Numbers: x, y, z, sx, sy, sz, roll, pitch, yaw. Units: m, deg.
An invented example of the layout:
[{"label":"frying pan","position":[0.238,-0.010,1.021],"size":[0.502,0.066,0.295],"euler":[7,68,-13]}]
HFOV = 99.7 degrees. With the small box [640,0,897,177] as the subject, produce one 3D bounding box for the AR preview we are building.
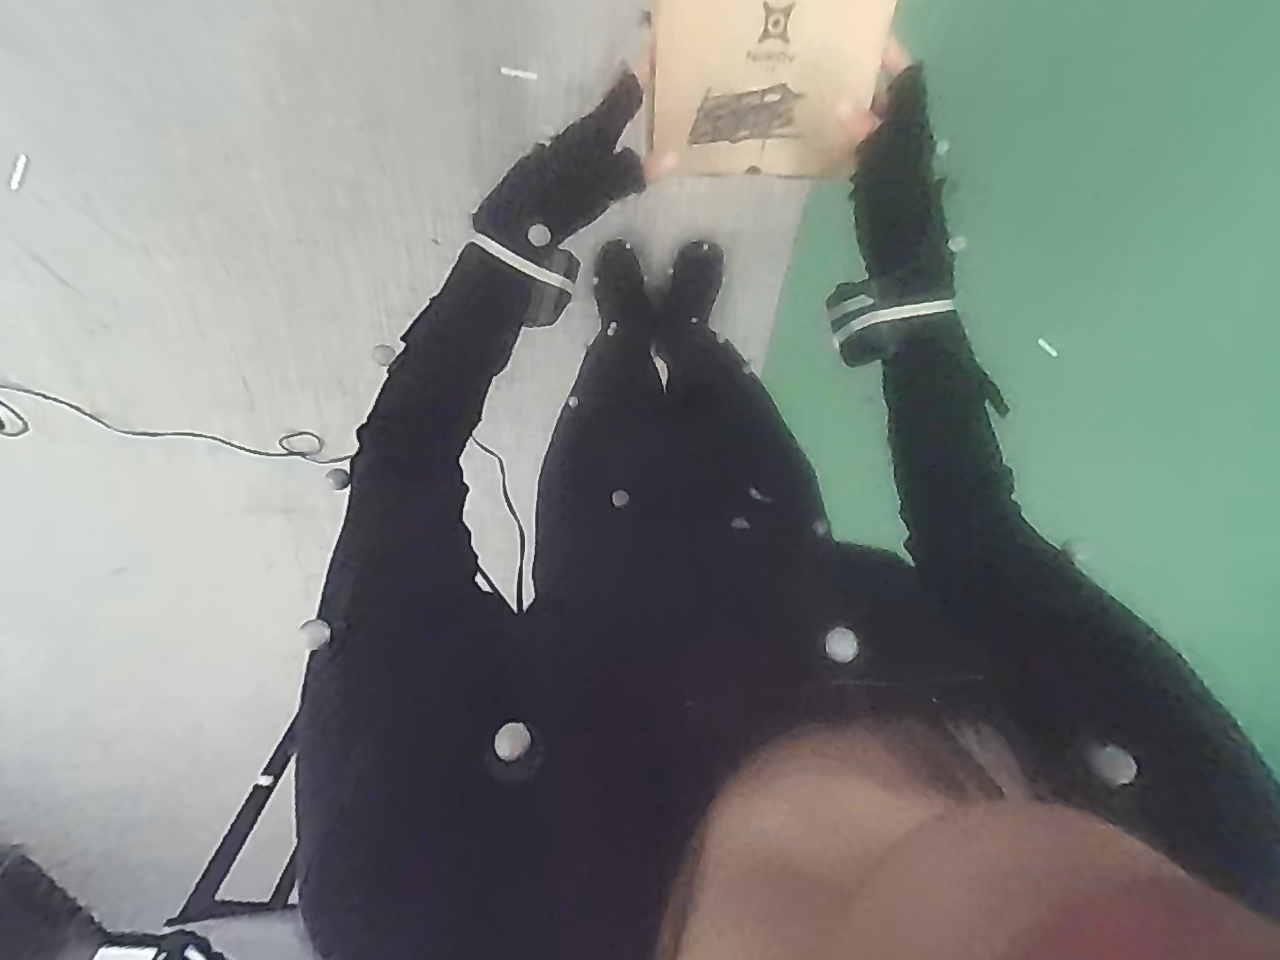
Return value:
[{"label":"small box","position":[0.086,-0.359,0.426],"size":[0.168,0.176,0.179],"euler":[0,131,-2]}]
